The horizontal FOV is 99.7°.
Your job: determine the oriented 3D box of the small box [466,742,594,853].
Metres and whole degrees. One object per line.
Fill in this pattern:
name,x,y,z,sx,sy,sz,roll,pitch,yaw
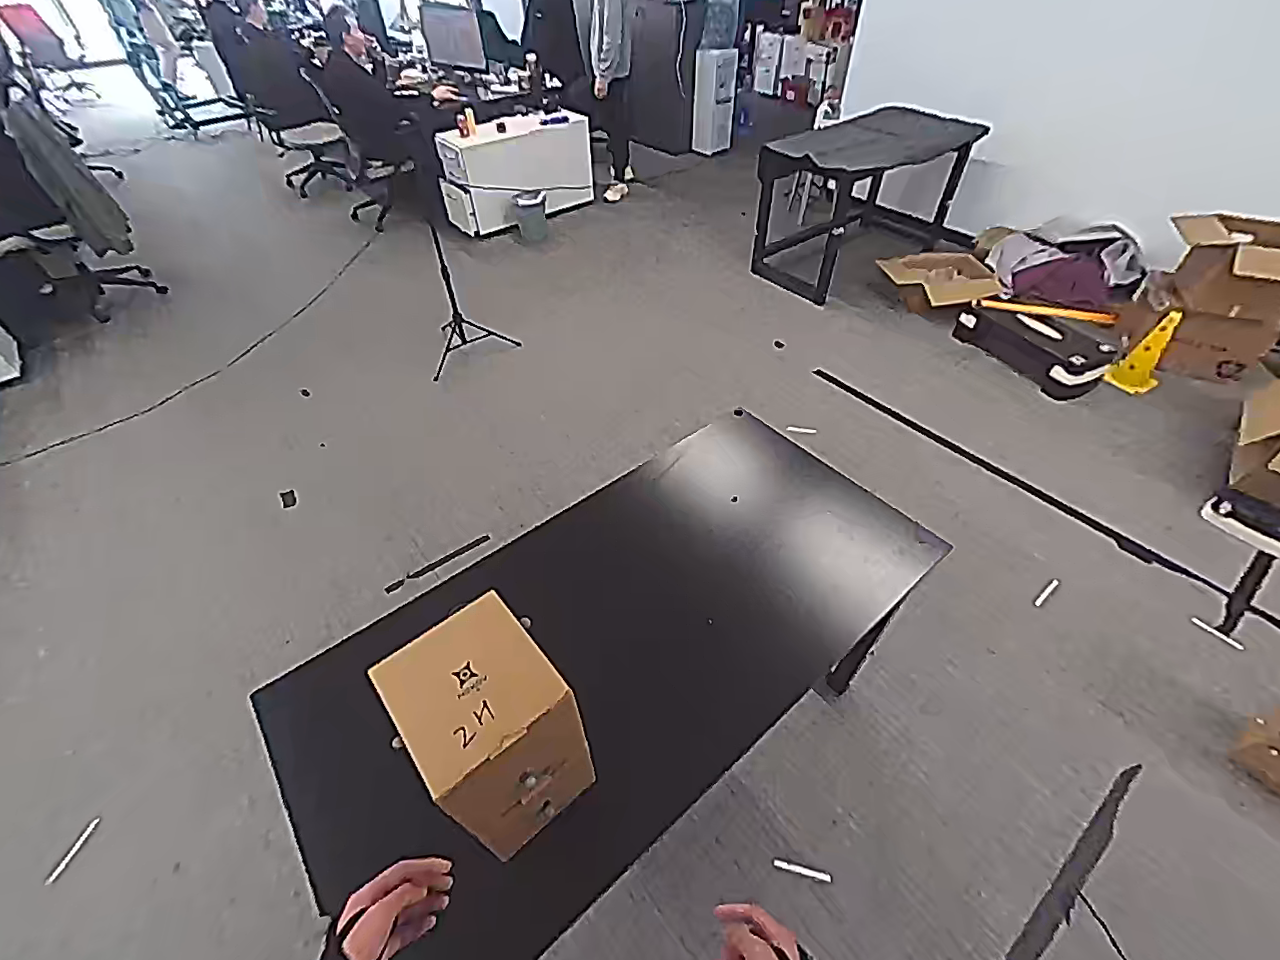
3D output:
small box,-0.180,0.393,0.772,0.168,0.176,0.179,-32,54,-26

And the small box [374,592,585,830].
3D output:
small box,-0.184,0.278,0.653,0.168,0.176,0.179,-32,54,-25
